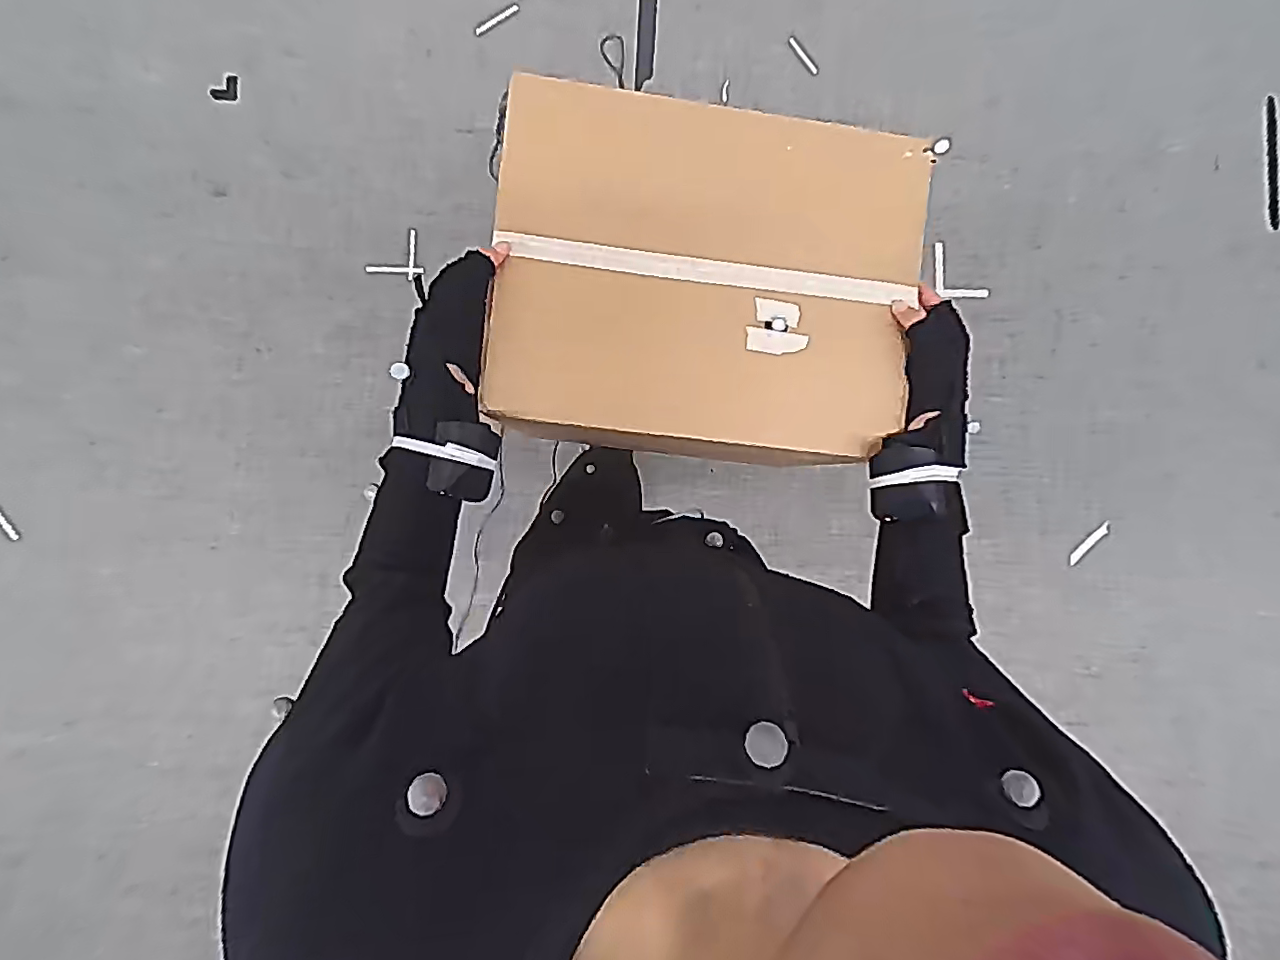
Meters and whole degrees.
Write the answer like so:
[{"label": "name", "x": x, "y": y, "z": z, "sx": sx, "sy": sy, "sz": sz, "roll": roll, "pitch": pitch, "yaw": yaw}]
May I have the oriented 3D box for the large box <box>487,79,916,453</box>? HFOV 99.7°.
[{"label": "large box", "x": 0.051, "y": -0.209, "z": 0.671, "sx": 0.408, "sy": 0.320, "sz": 0.320, "roll": 7, "pitch": 91, "yaw": -5}]
